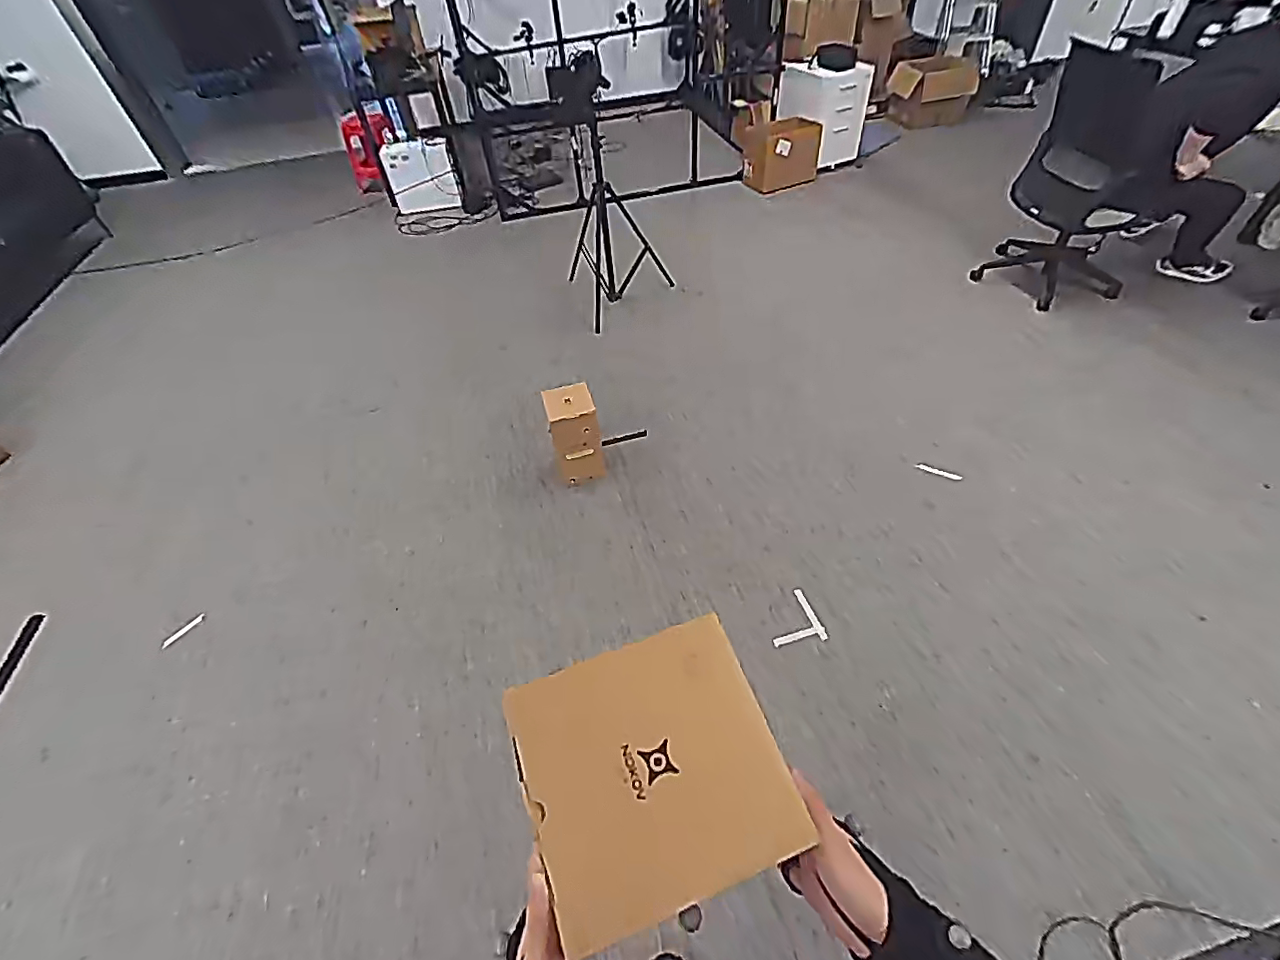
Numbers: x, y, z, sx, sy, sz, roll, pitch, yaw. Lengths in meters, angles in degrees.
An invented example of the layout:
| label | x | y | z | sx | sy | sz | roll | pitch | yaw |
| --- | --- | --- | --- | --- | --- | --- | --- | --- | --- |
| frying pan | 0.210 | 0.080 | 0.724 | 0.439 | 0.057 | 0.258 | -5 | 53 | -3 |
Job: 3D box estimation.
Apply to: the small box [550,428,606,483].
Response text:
| label | x | y | z | sx | sy | sz | roll | pitch | yaw |
| --- | --- | --- | --- | --- | --- | --- | --- | --- | --- |
| small box | -0.232 | -0.109 | 2.052 | 0.168 | 0.176 | 0.179 | -15 | 48 | -8 |

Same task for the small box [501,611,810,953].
| label | x | y | z | sx | sy | sz | roll | pitch | yaw |
| --- | --- | --- | --- | --- | --- | --- | --- | --- | --- |
| small box | 0.005 | 0.233 | 0.446 | 0.179 | 0.176 | 0.168 | -19 | 62 | -10 |

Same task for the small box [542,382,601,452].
| label | x | y | z | sx | sy | sz | roll | pitch | yaw |
| --- | --- | --- | --- | --- | --- | --- | --- | --- | --- |
| small box | -0.242 | -0.218 | 1.933 | 0.168 | 0.176 | 0.179 | -15 | 47 | -9 |
